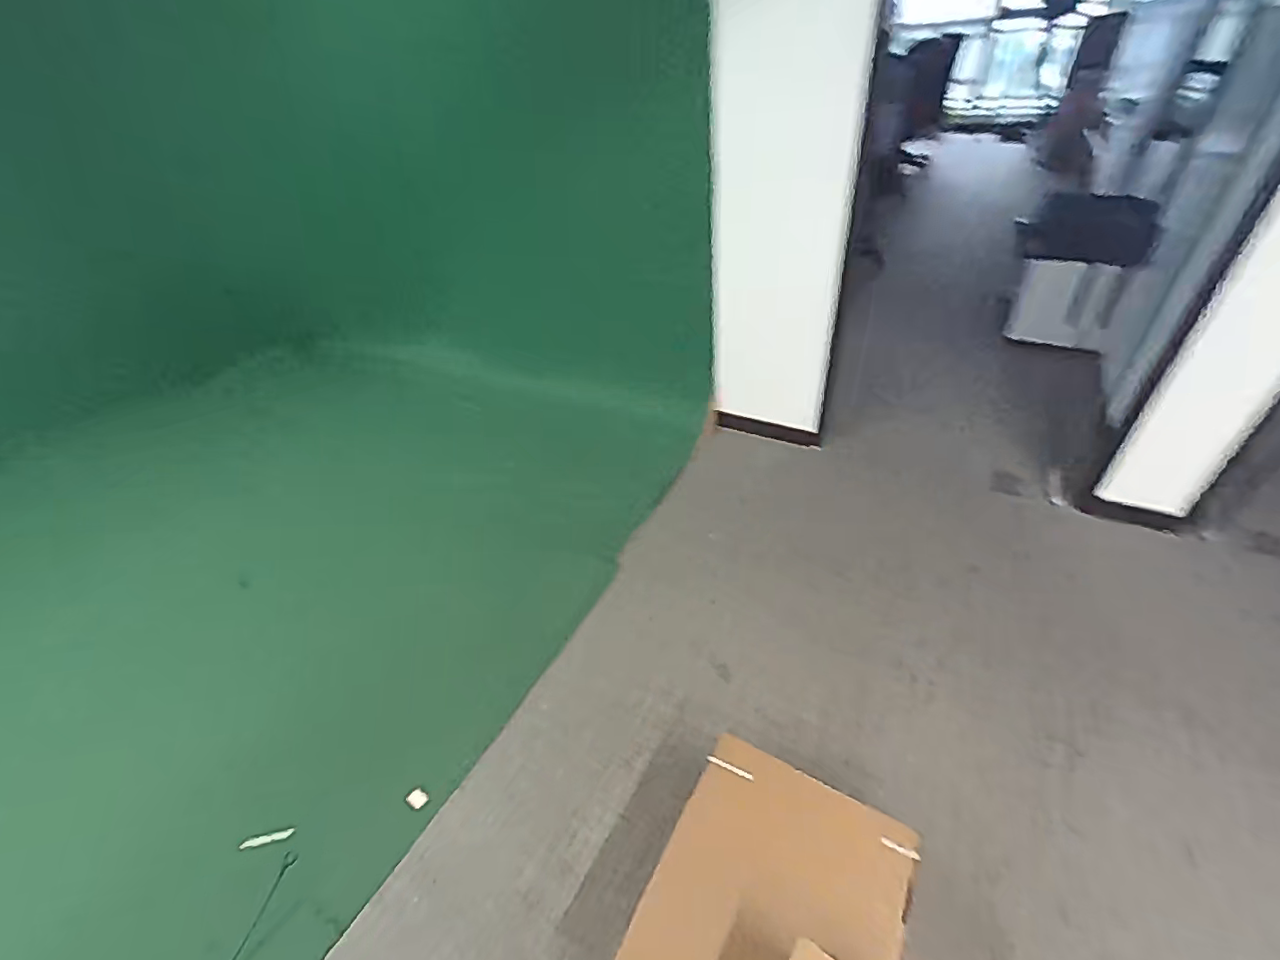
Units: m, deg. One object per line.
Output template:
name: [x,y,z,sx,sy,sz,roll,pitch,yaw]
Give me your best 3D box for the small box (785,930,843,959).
small box: [0.257,0.789,0.749,0.168,0.176,0.179,21,47,28]
